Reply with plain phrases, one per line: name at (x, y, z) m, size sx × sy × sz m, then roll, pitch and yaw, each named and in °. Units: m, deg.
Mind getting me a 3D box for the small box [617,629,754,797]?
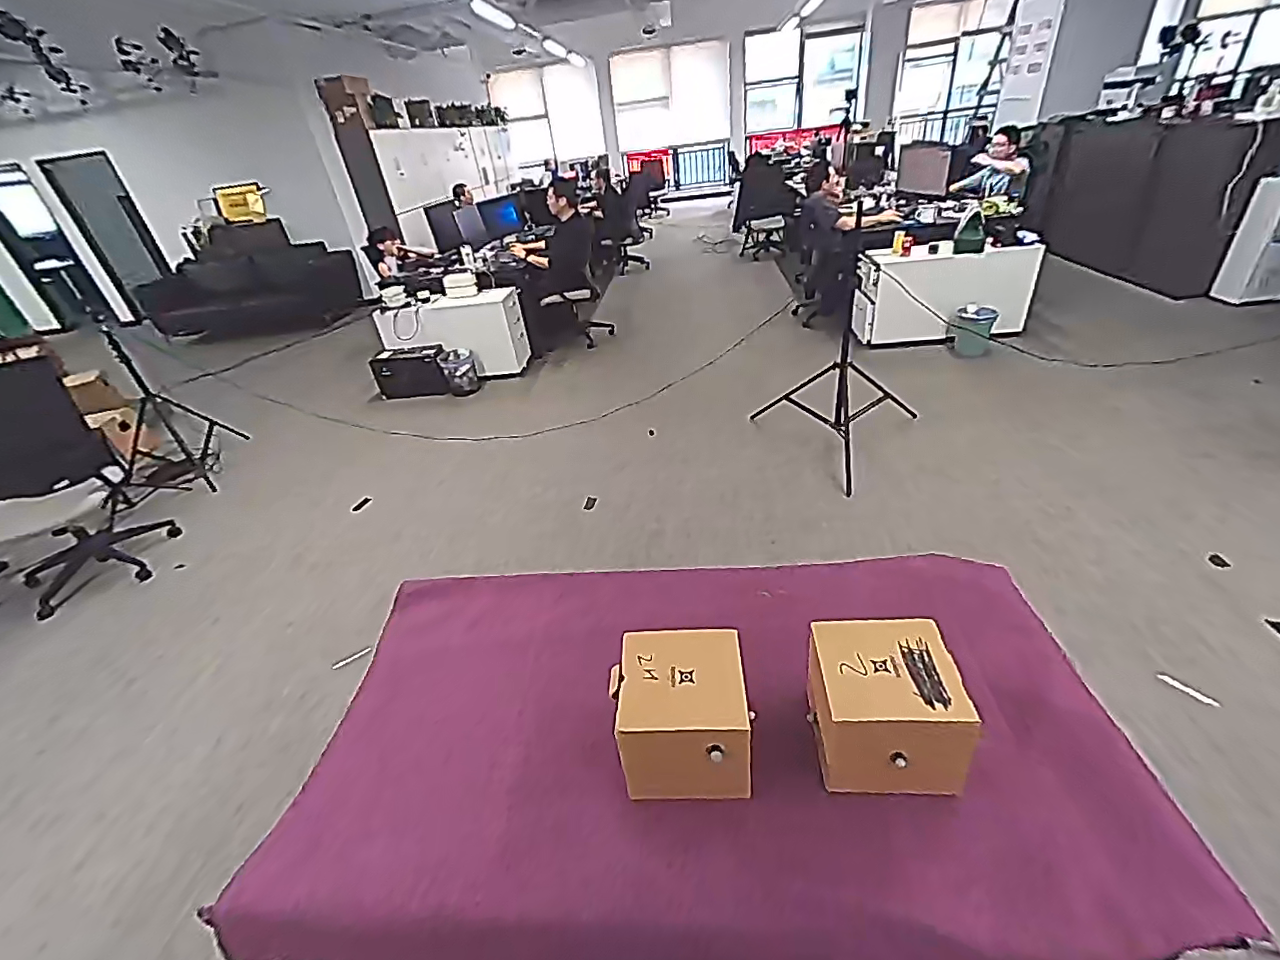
small box at (0.069, 0.343, 0.796) m, size 0.179 × 0.176 × 0.168 m, roll -5°, pitch 32°, yaw 6°
